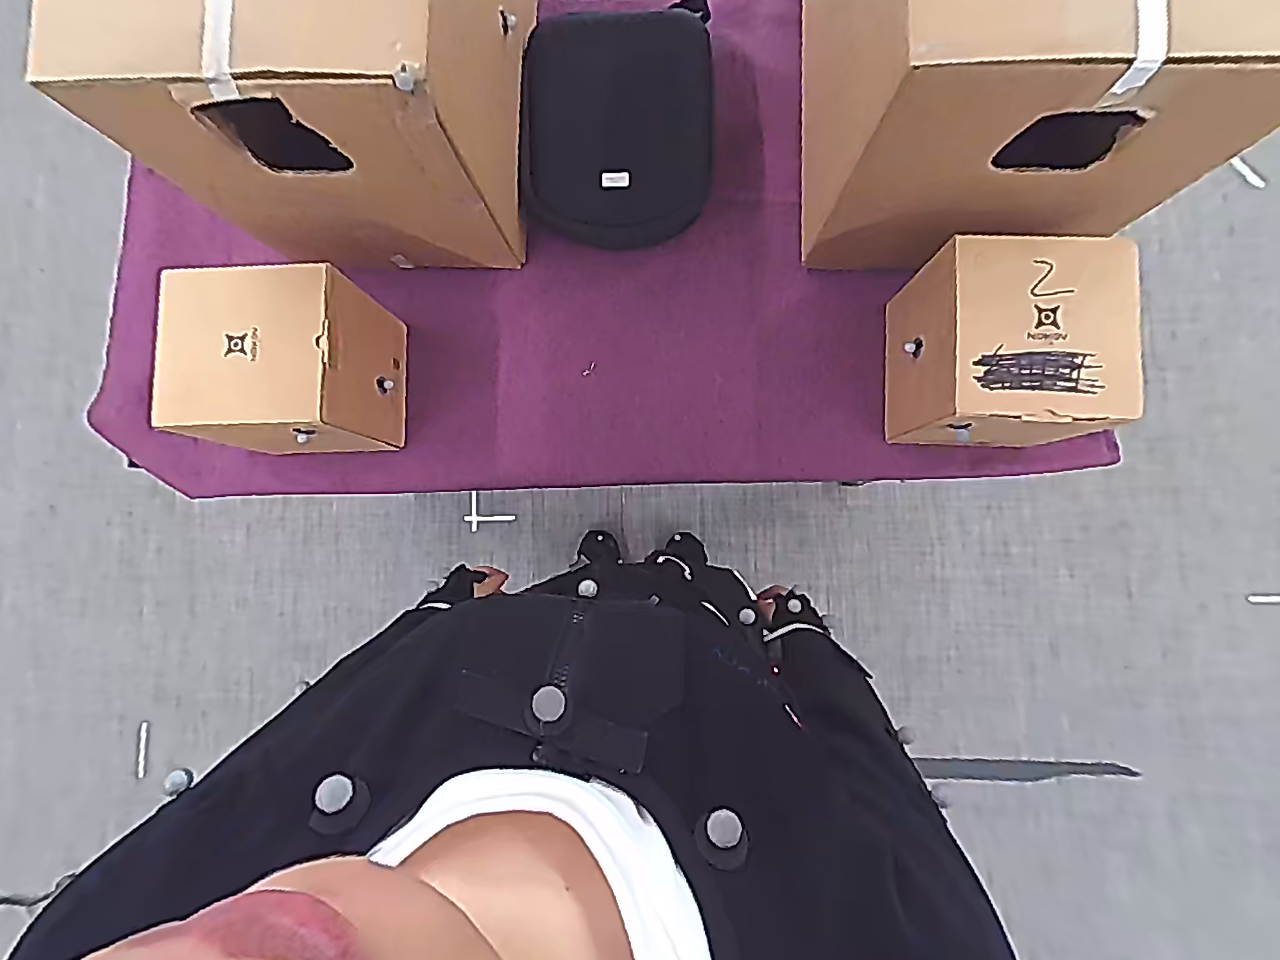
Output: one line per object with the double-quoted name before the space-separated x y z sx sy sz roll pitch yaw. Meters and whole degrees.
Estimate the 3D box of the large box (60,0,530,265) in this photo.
"large box" -0.304 -0.490 0.580 0.320 0.320 0.408 1 88 3

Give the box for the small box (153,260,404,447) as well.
"small box" -0.400 -0.133 0.625 0.179 0.176 0.168 -2 84 2
